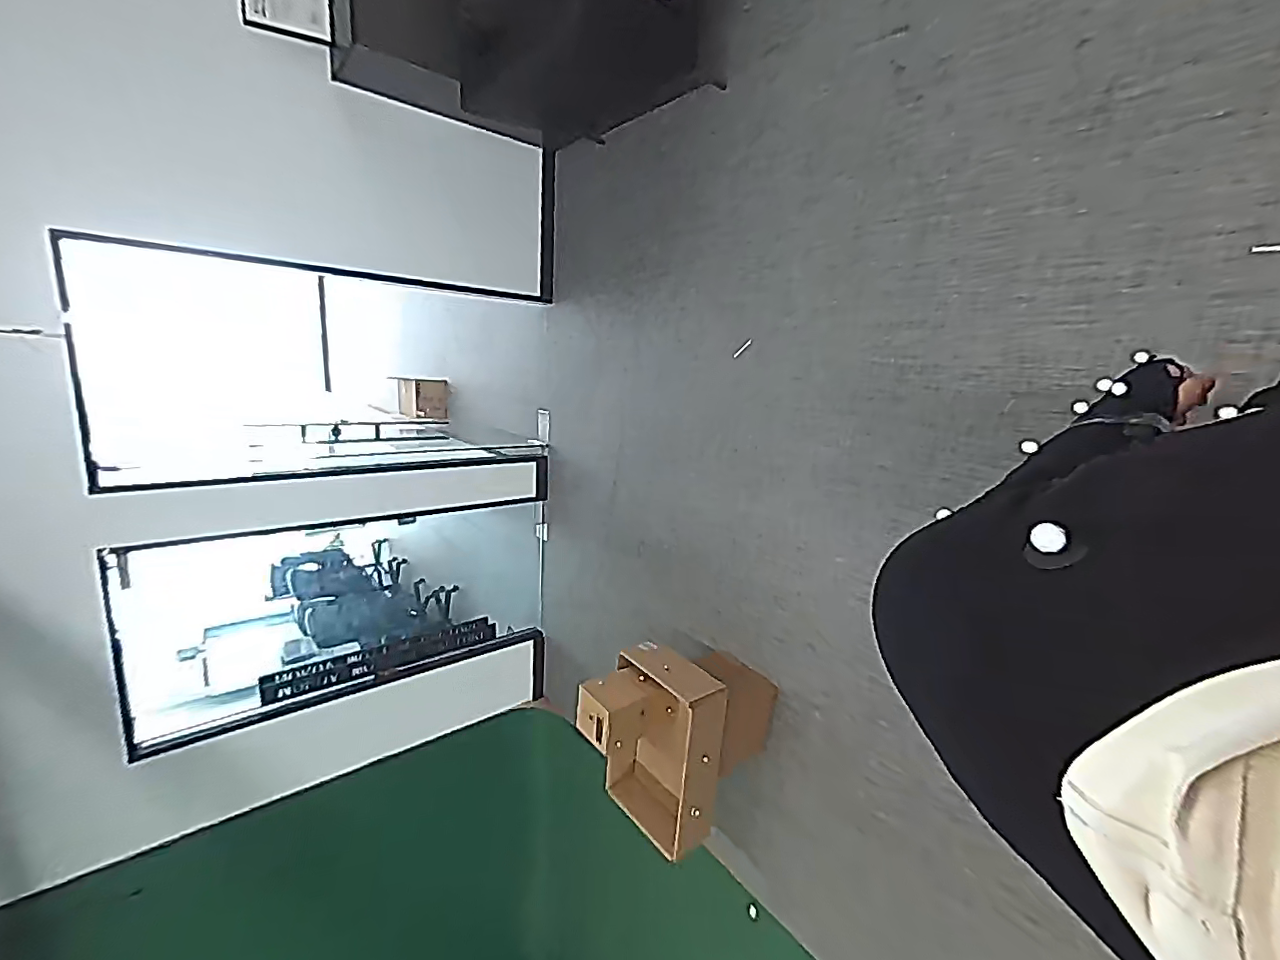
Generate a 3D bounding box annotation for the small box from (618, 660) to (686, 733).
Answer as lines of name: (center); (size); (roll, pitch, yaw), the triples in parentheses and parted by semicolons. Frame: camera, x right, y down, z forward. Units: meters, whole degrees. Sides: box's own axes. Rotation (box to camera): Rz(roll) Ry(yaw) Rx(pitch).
small box: (0.042, 0.776, 1.965); (0.179, 0.176, 0.168); (20, 109, 47)
